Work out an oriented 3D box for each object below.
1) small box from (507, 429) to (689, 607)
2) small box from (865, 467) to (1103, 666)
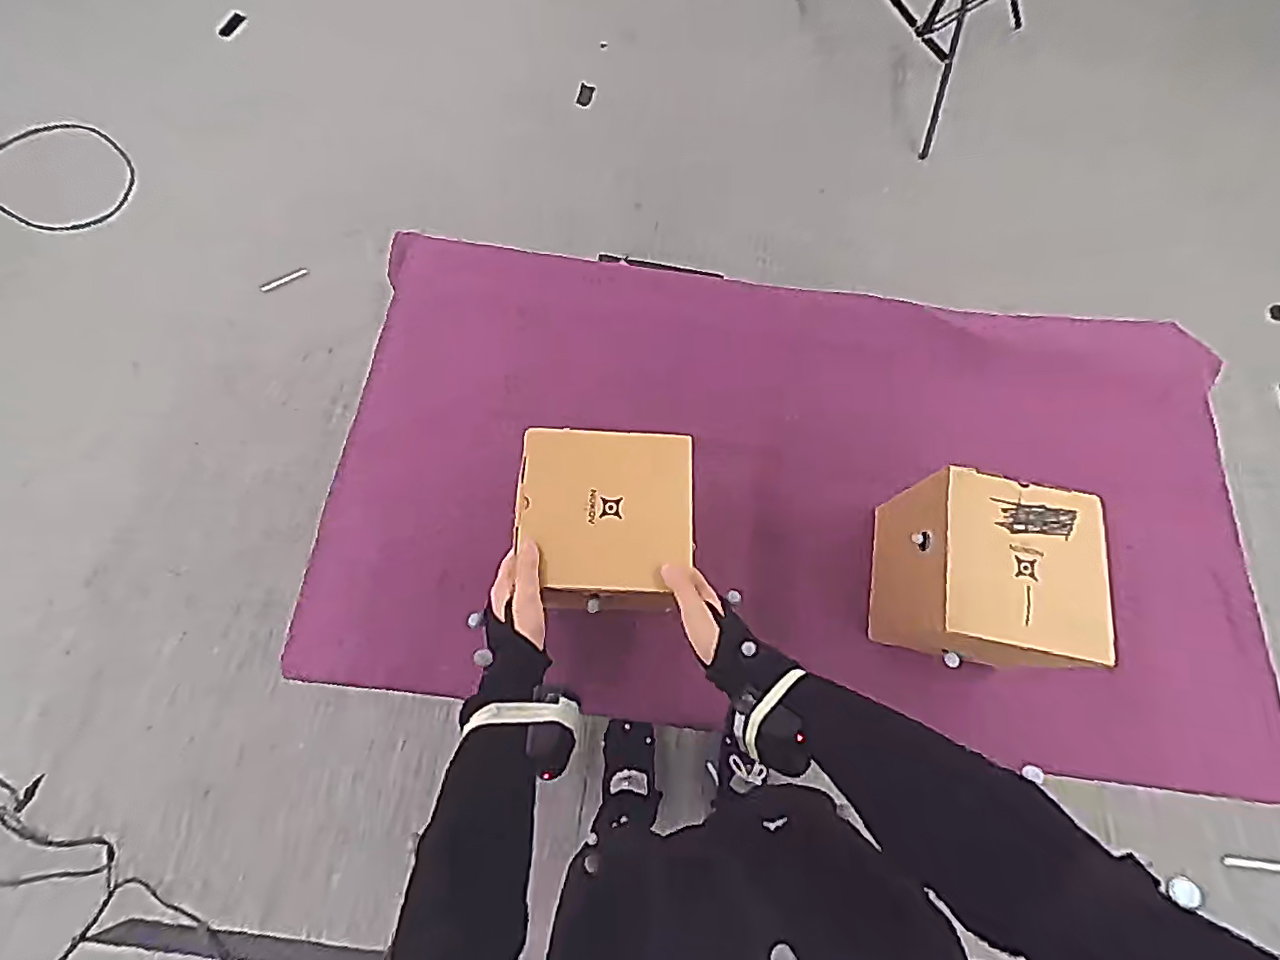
[{"bbox_3d":[-0.043,0.053,0.618,0.179,0.176,0.168,2,72,-2],"label":"small box"},{"bbox_3d":[0.377,0.108,0.623,0.168,0.176,0.179,12,71,1],"label":"small box"}]
